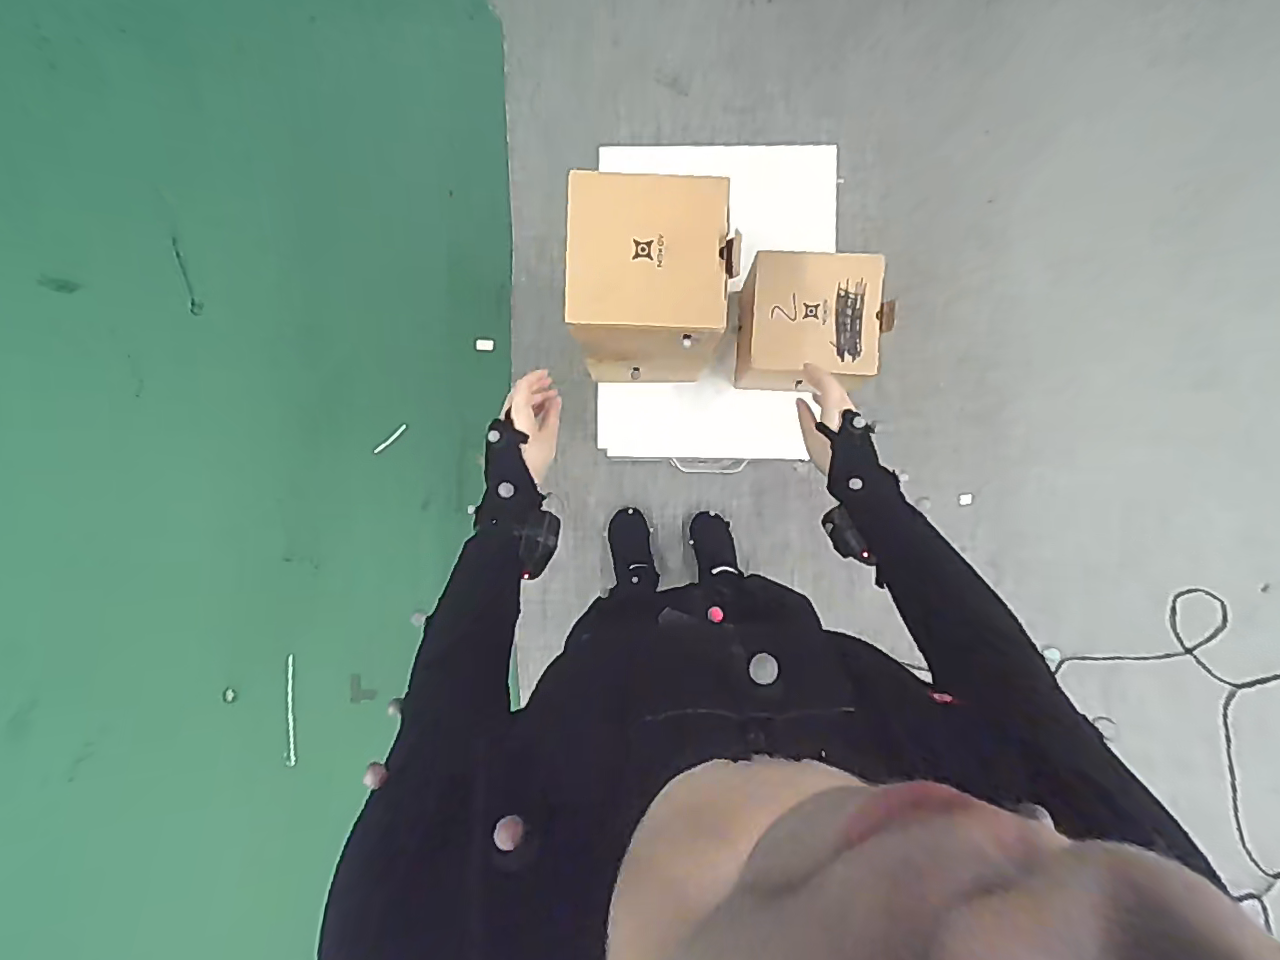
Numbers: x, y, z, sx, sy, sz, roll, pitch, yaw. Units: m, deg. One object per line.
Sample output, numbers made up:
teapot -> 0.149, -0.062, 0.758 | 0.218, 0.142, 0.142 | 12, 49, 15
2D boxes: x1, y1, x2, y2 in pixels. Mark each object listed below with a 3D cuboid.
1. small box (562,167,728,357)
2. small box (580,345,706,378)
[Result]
small box -> 0.005, -0.250, 0.657 | 0.179, 0.176, 0.168 | 1, 91, -1
small box -> 0.006, -0.250, 0.821 | 0.179, 0.176, 0.168 | 0, 91, 0
